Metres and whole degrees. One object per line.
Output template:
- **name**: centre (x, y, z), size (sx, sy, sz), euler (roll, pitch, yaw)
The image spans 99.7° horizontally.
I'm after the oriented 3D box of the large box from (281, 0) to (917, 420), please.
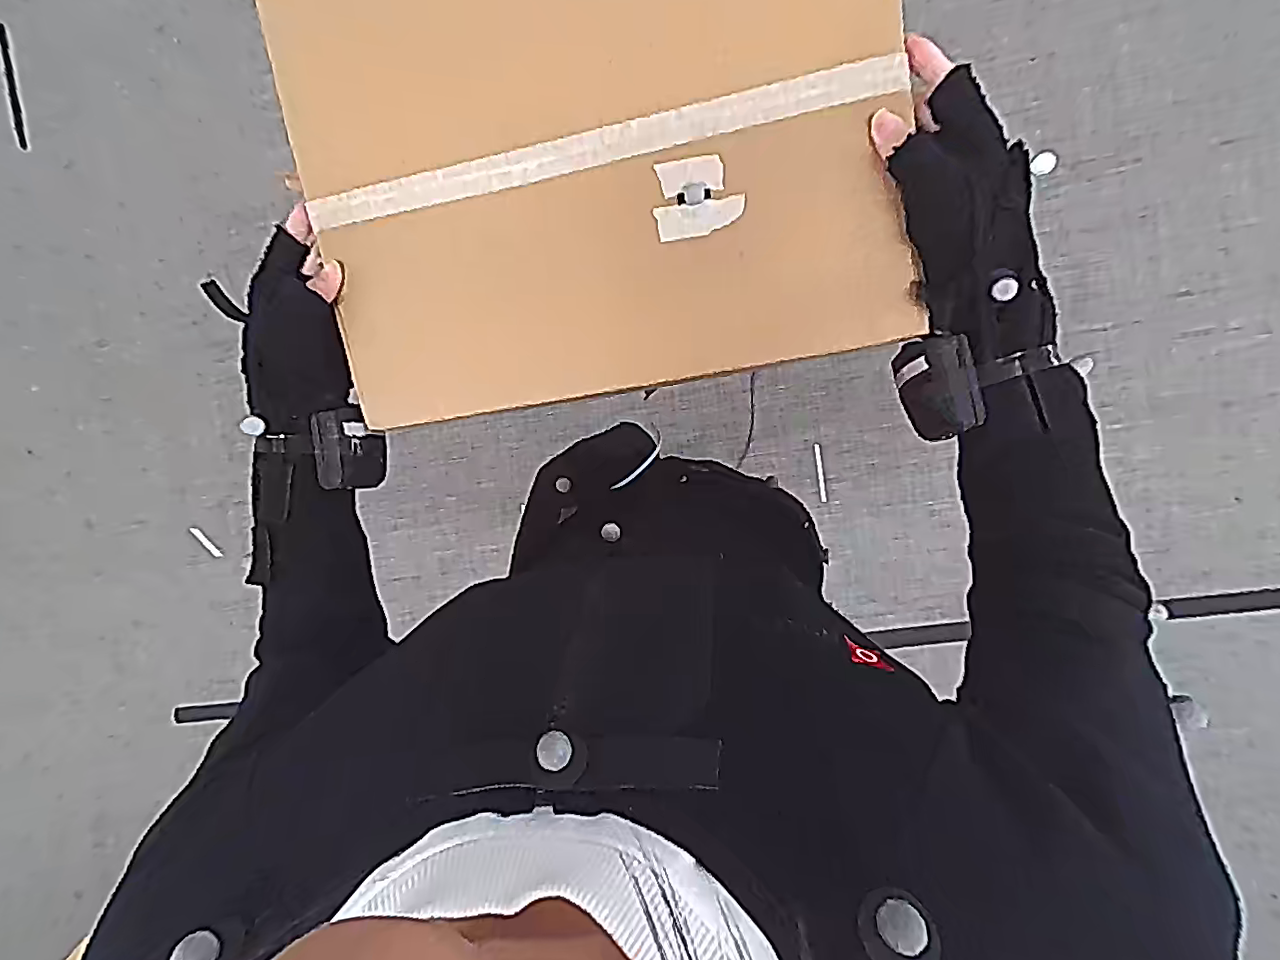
- **large box**: centre (-0.017, -0.253, 0.517), size (0.408, 0.320, 0.320), euler (-9, 100, 7)
